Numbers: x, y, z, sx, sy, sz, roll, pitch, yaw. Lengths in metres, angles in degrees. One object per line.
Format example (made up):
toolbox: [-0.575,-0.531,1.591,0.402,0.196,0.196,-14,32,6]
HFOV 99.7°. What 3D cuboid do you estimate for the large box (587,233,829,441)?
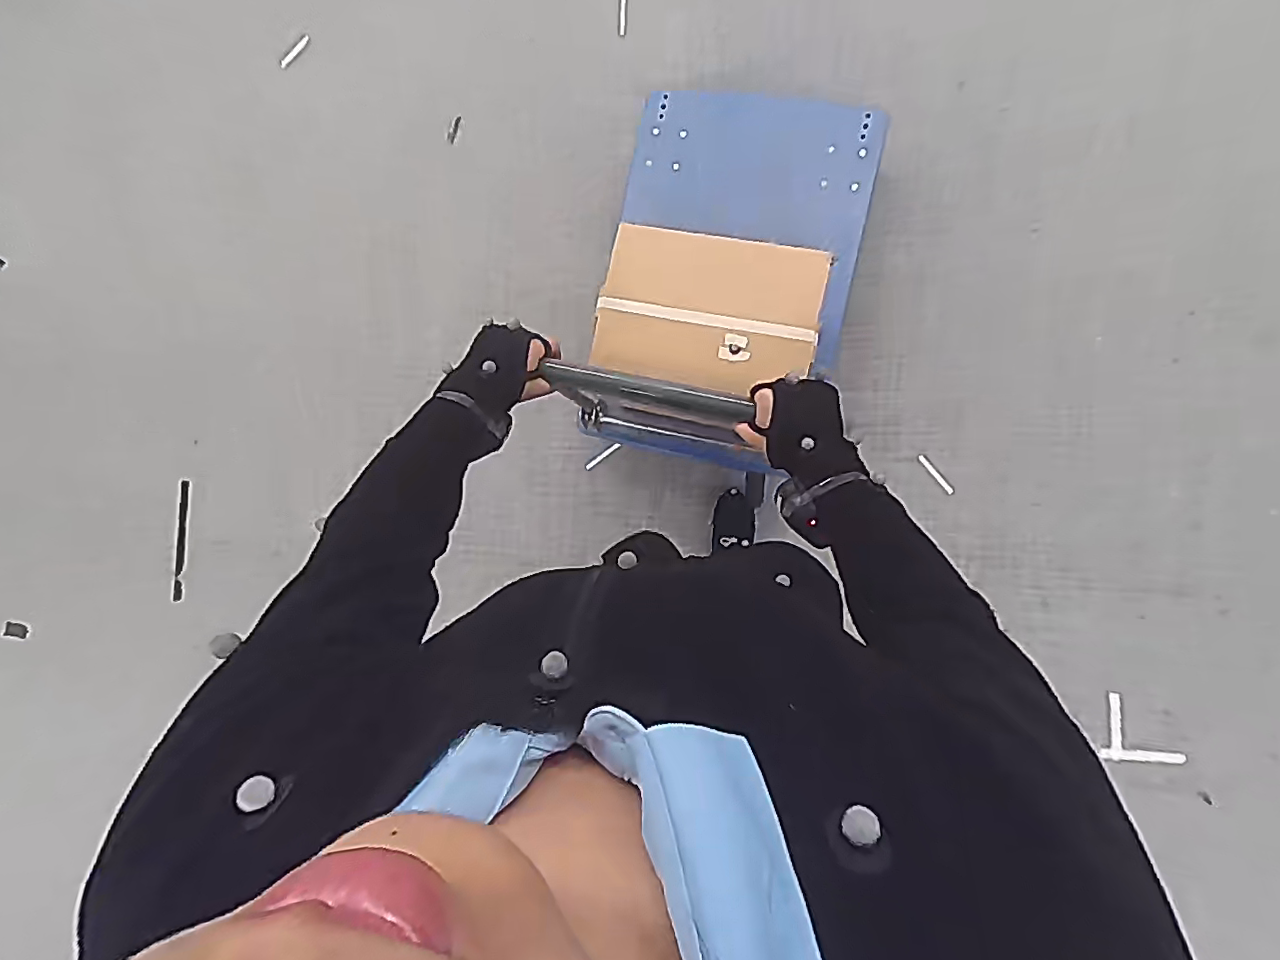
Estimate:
large box: [0.139,-0.281,1.146,0.408,0.320,0.320,12,91,9]
